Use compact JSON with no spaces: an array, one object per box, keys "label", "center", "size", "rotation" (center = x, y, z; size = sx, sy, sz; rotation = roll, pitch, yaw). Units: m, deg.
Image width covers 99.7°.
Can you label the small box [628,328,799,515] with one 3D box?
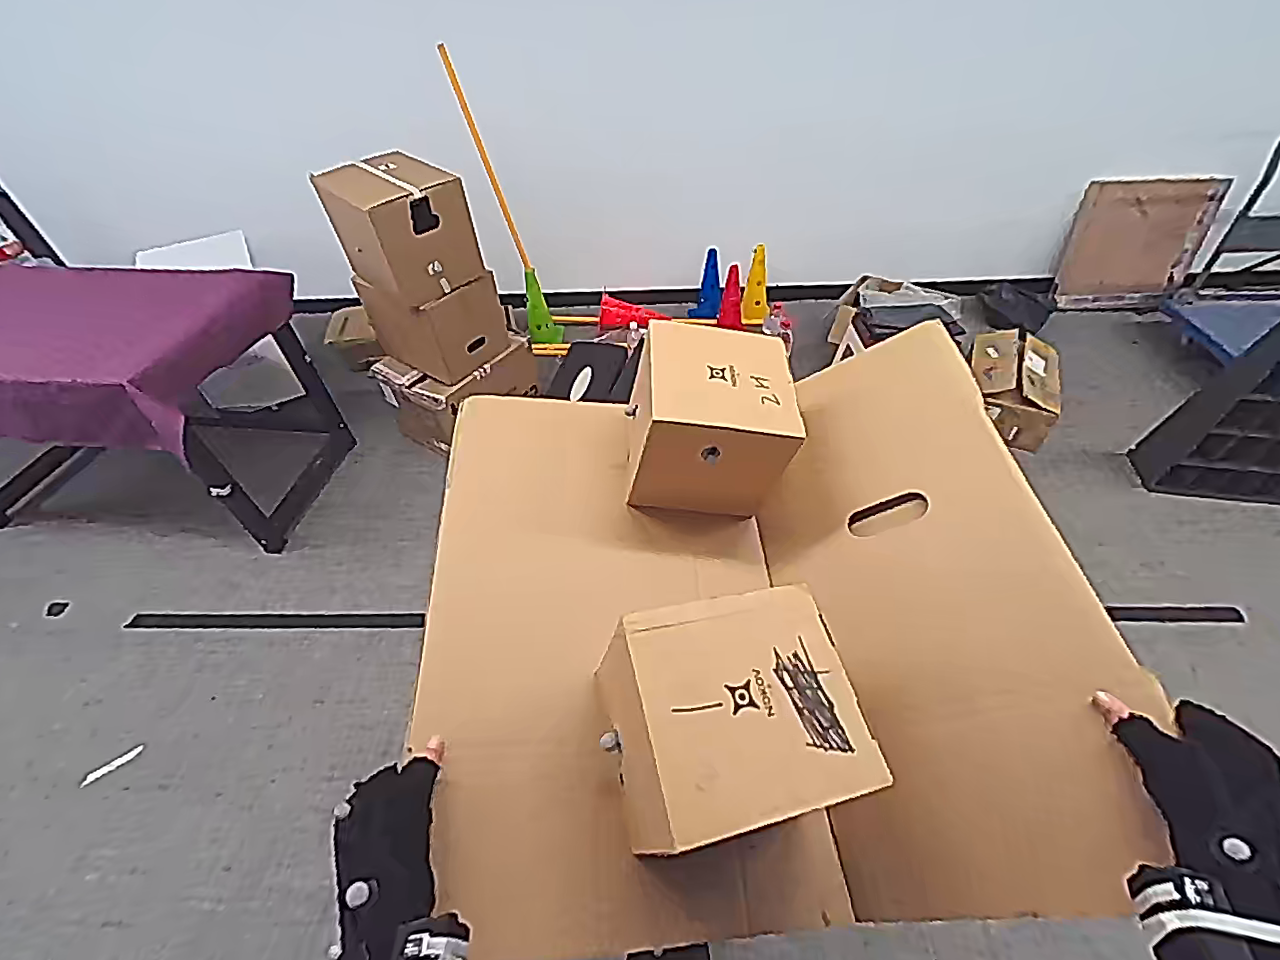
[{"label":"small box","center":[0.081,-0.069,0.702],"size":[0.179,0.176,0.168],"rotation":[7,54,-9]}]

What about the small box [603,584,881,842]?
[{"label":"small box","center":[0.073,0.215,0.498],"size":[0.179,0.176,0.168],"rotation":[-7,57,-16]}]
